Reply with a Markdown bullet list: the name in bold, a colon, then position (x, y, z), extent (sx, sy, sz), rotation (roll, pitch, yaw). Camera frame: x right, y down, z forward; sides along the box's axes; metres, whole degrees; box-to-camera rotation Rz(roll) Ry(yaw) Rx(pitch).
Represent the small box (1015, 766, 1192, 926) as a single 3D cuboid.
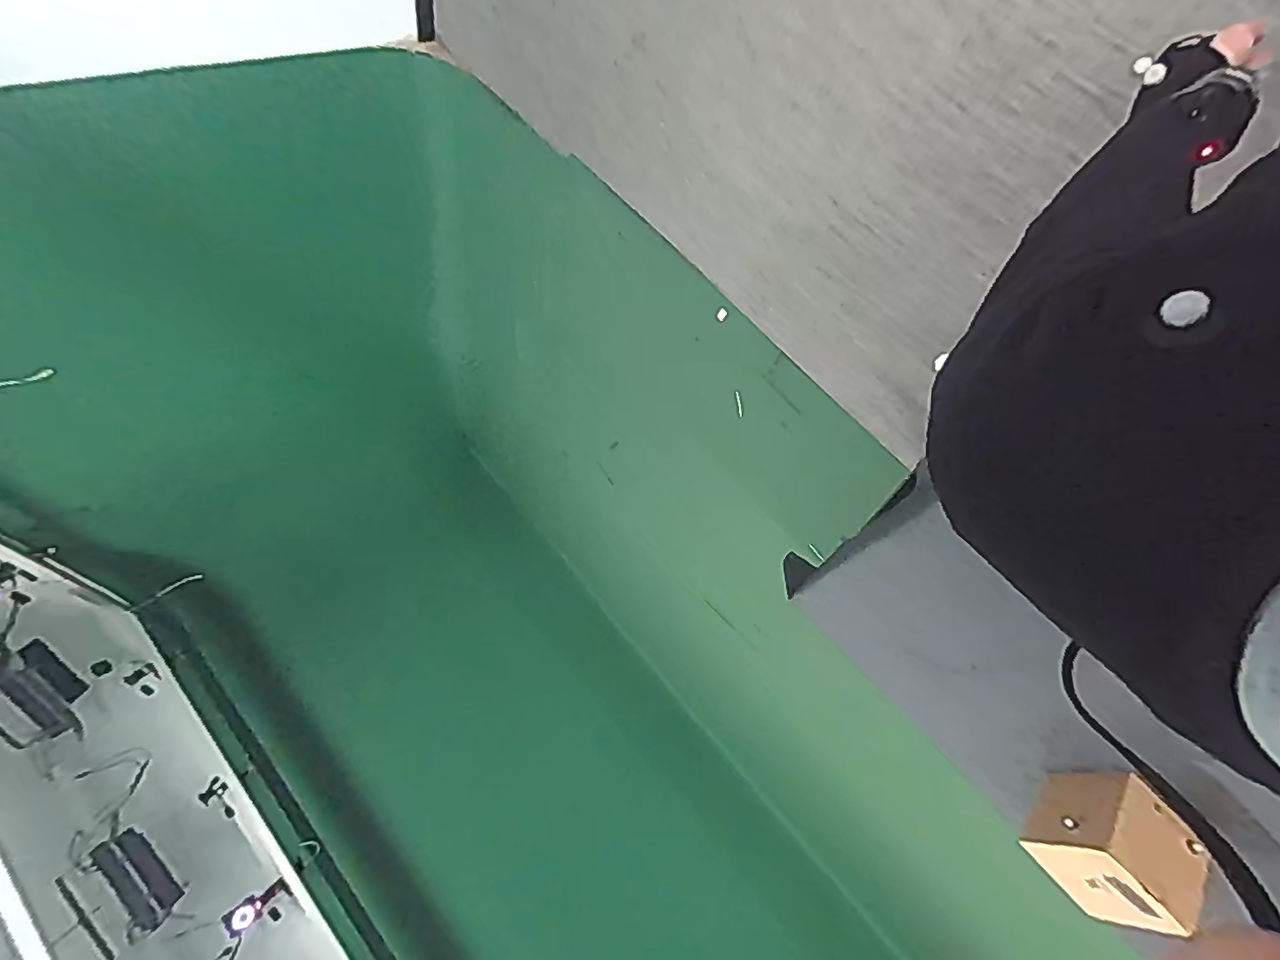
- **small box**: position (0.844, 0.648, 0.984), extent (0.168, 0.176, 0.179), rotation (47, 150, 11)
